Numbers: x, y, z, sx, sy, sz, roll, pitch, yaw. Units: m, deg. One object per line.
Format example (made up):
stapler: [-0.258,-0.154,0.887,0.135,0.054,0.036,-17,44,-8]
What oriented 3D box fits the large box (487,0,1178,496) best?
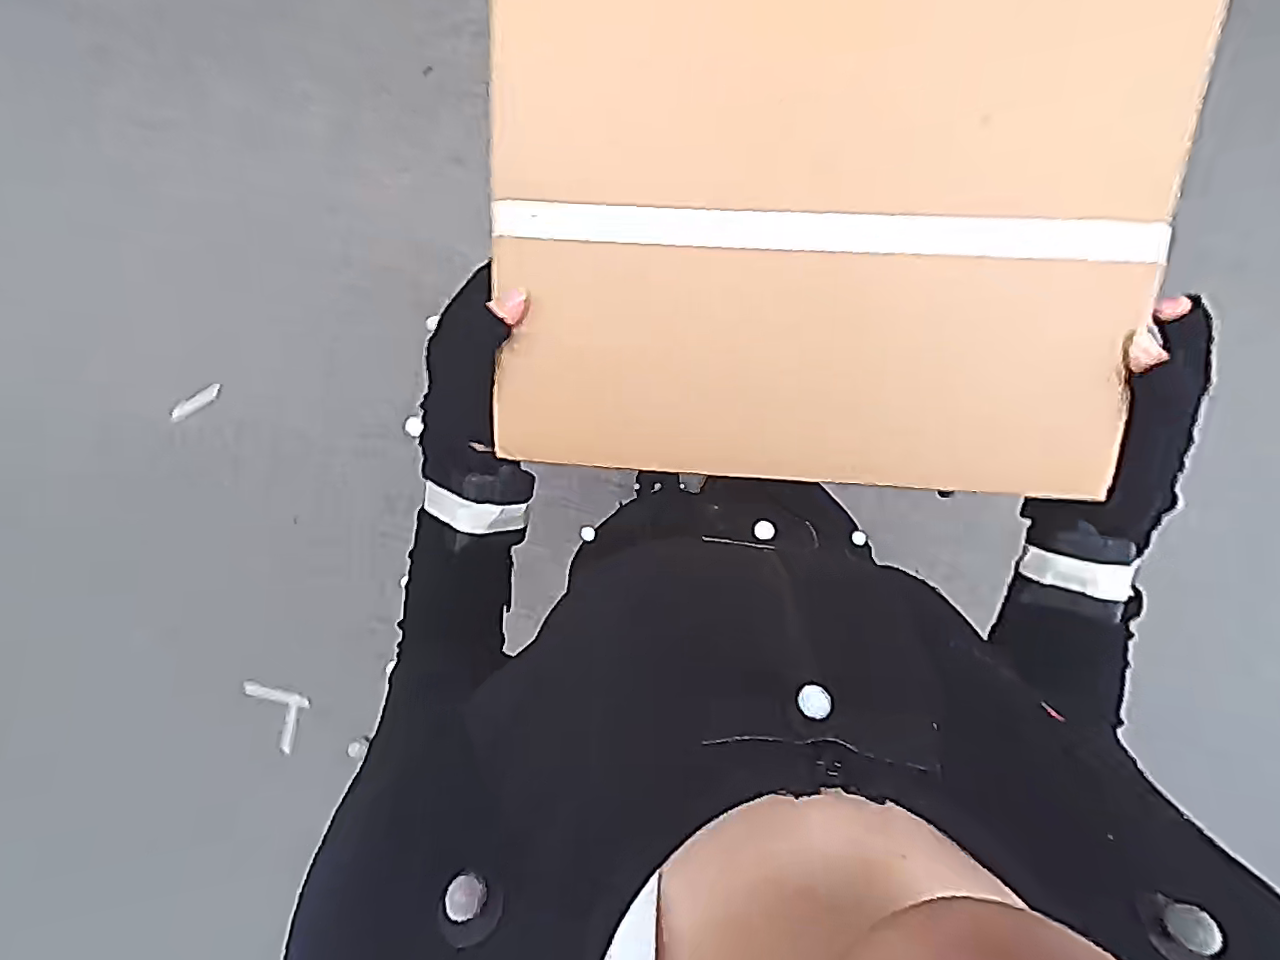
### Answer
large box: [0.112,-0.180,0.490,0.408,0.320,0.320,3,102,3]
